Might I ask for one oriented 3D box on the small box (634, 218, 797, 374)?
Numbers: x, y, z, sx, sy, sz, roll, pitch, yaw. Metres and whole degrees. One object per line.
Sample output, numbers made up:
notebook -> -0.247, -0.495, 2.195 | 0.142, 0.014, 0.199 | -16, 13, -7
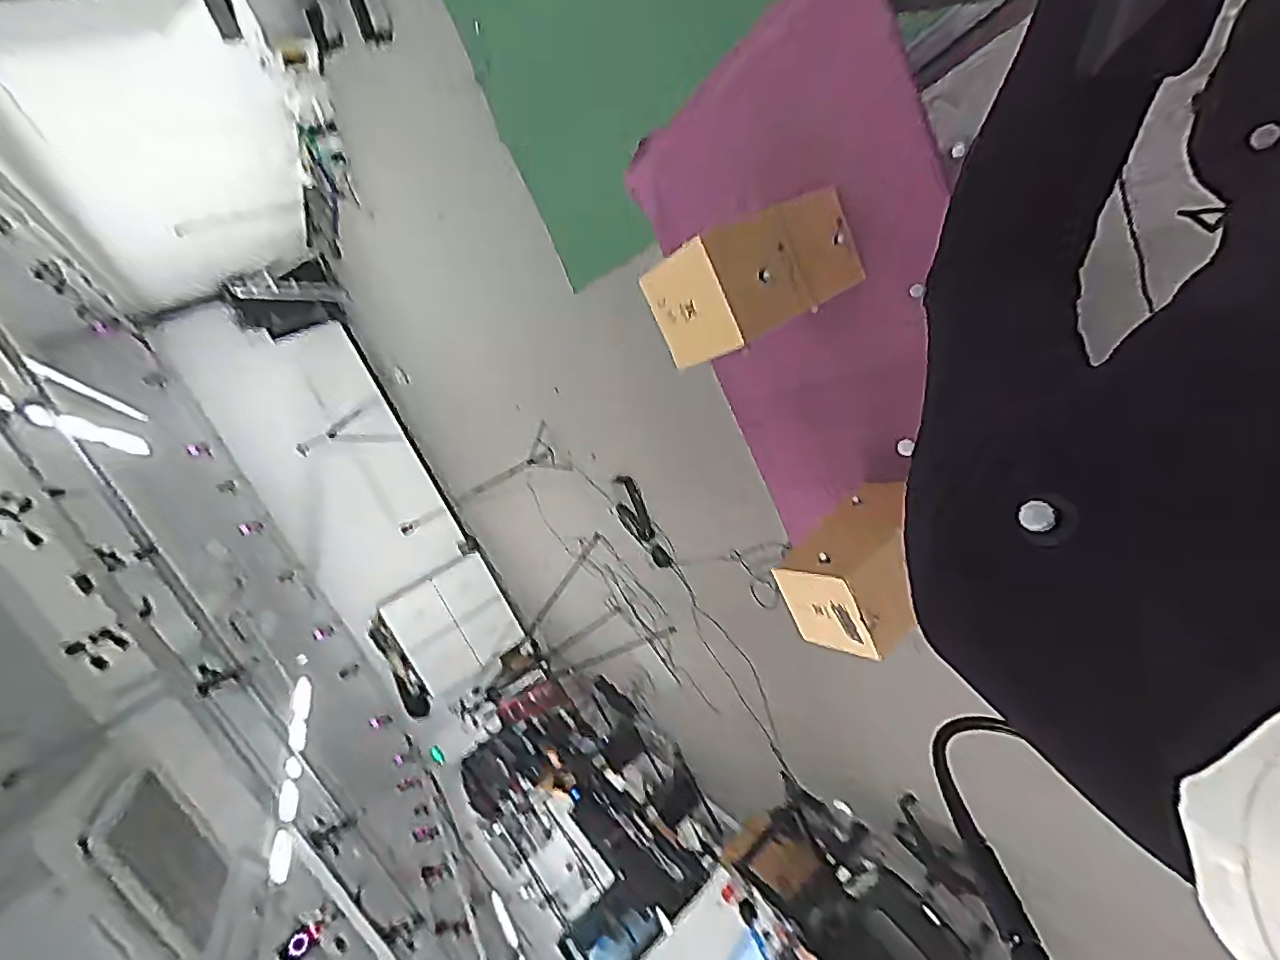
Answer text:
small box -> 0.128, -0.294, 0.872 | 0.179, 0.176, 0.168 | -5, 114, 59

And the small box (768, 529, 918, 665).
small box -> 0.374, 0.201, 0.983 | 0.179, 0.176, 0.168 | -6, 114, 61

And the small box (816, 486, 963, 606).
small box -> 0.491, 0.122, 1.067 | 0.179, 0.176, 0.168 | -7, 113, 60
